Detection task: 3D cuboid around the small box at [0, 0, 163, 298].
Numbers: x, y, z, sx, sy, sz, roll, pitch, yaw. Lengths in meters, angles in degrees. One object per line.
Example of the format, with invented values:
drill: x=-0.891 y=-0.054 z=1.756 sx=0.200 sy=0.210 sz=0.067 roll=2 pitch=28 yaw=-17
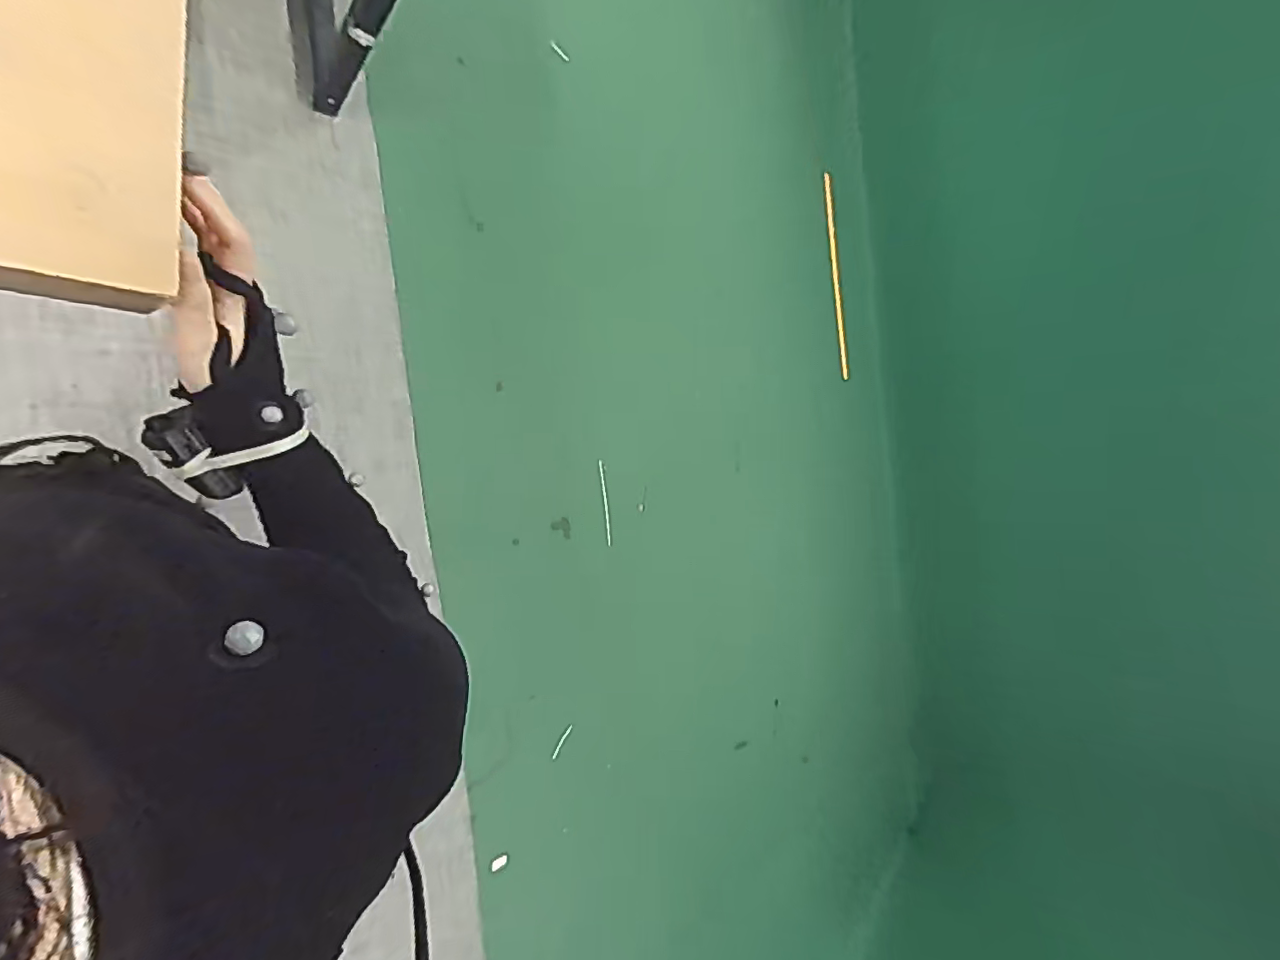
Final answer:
small box: x=-0.339 y=-0.191 z=0.249 sx=0.168 sy=0.176 sz=0.179 roll=0 pitch=99 yaw=-47
